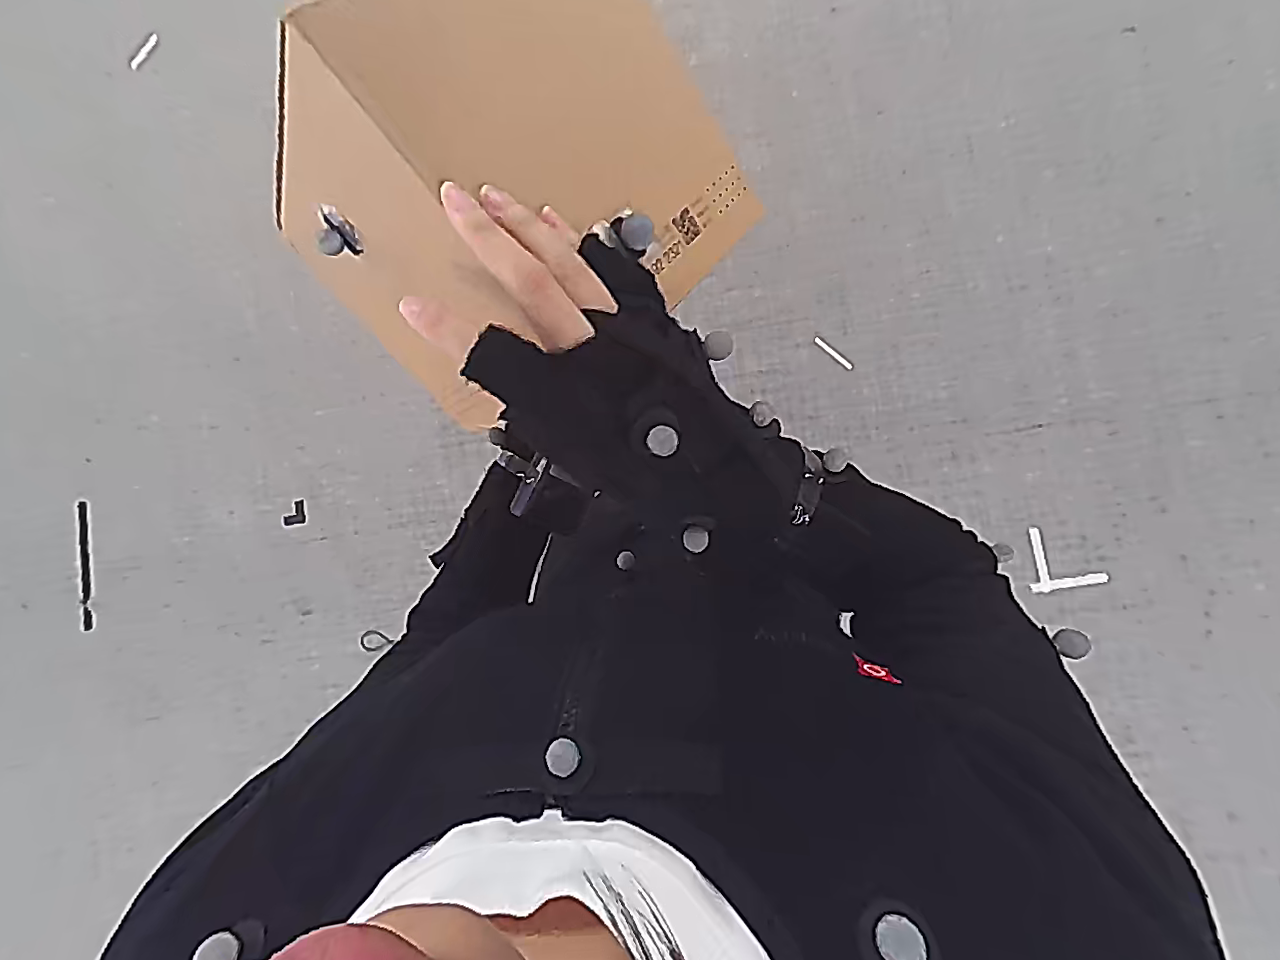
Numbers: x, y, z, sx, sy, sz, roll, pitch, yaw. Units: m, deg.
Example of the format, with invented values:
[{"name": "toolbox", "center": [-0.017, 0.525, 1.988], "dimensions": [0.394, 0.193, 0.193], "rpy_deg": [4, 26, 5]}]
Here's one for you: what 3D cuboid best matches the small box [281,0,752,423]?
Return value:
[{"name": "small box", "center": [-0.071, -0.150, 0.319], "dimensions": [0.176, 0.179, 0.168], "rpy_deg": [49, 64, -22]}]
